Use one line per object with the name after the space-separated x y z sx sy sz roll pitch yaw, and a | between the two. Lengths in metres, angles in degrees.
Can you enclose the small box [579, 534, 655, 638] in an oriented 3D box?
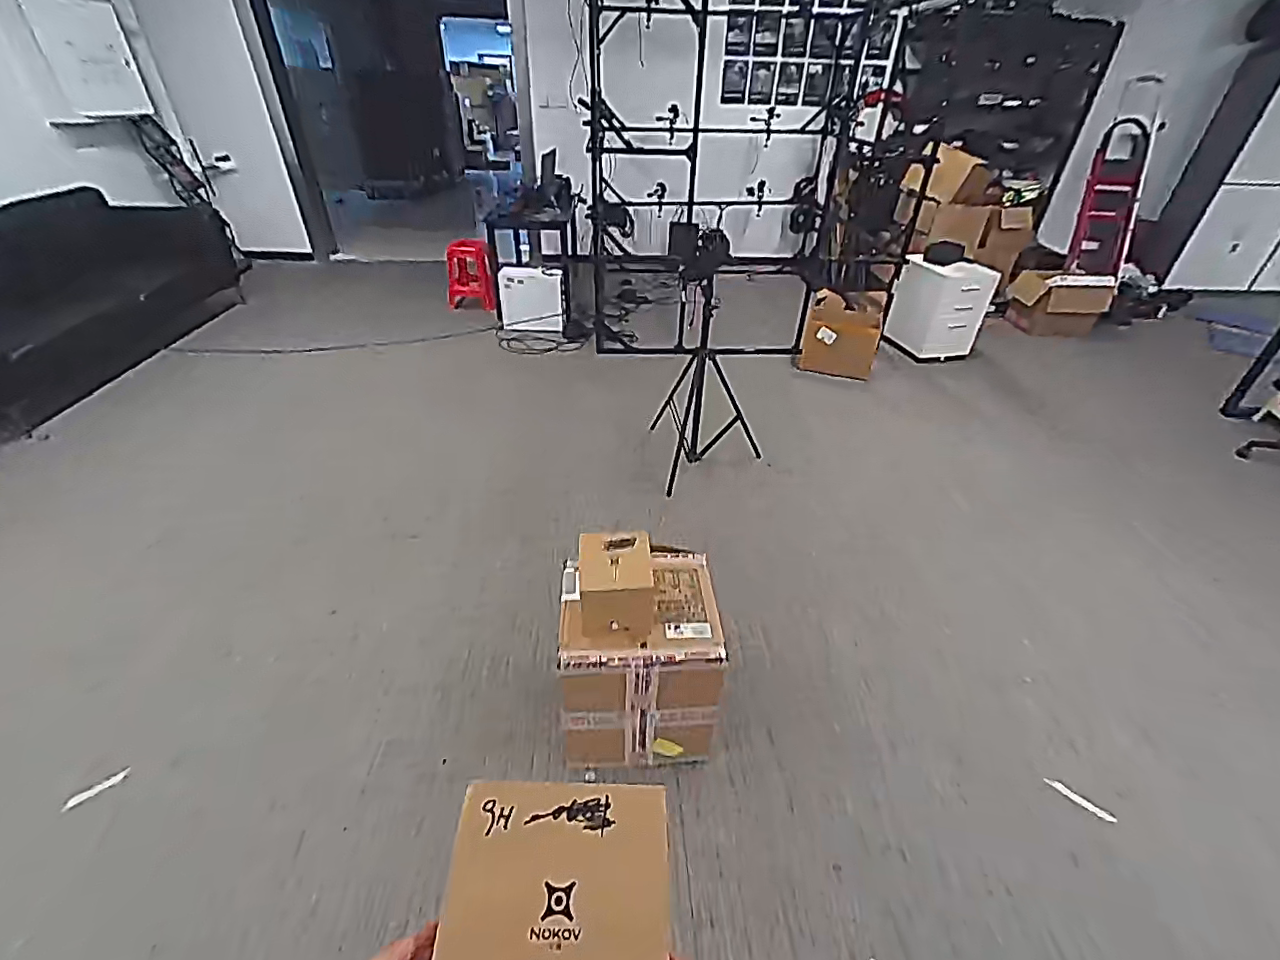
-0.057 0.248 1.269 0.168 0.176 0.179 -2 40 -4 | small box
